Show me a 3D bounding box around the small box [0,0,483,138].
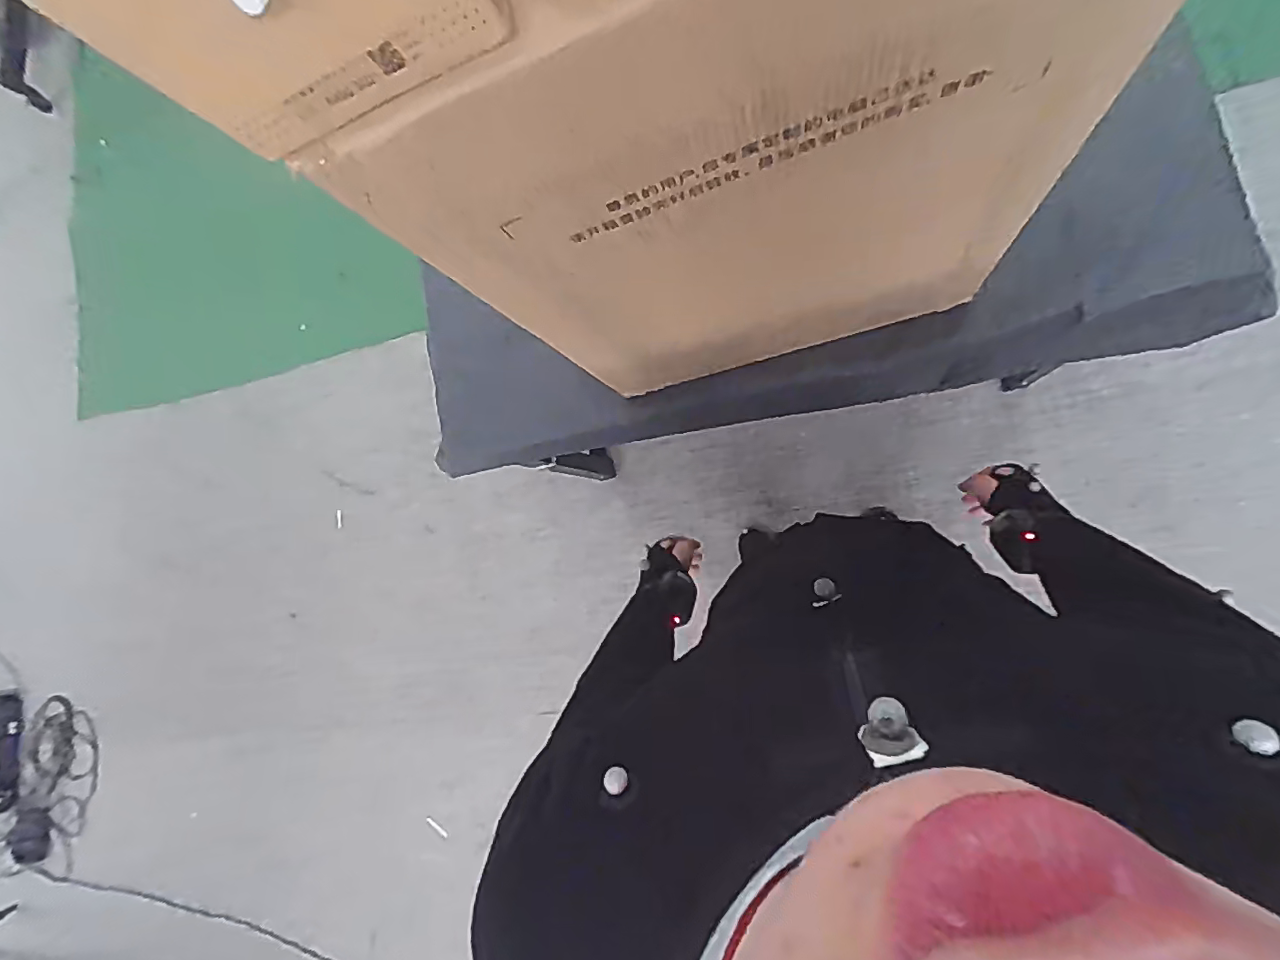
[{"bbox_3d":[-0.186,-0.285,0.224,0.168,0.176,0.179,-13,83,17],"label":"small box"}]
